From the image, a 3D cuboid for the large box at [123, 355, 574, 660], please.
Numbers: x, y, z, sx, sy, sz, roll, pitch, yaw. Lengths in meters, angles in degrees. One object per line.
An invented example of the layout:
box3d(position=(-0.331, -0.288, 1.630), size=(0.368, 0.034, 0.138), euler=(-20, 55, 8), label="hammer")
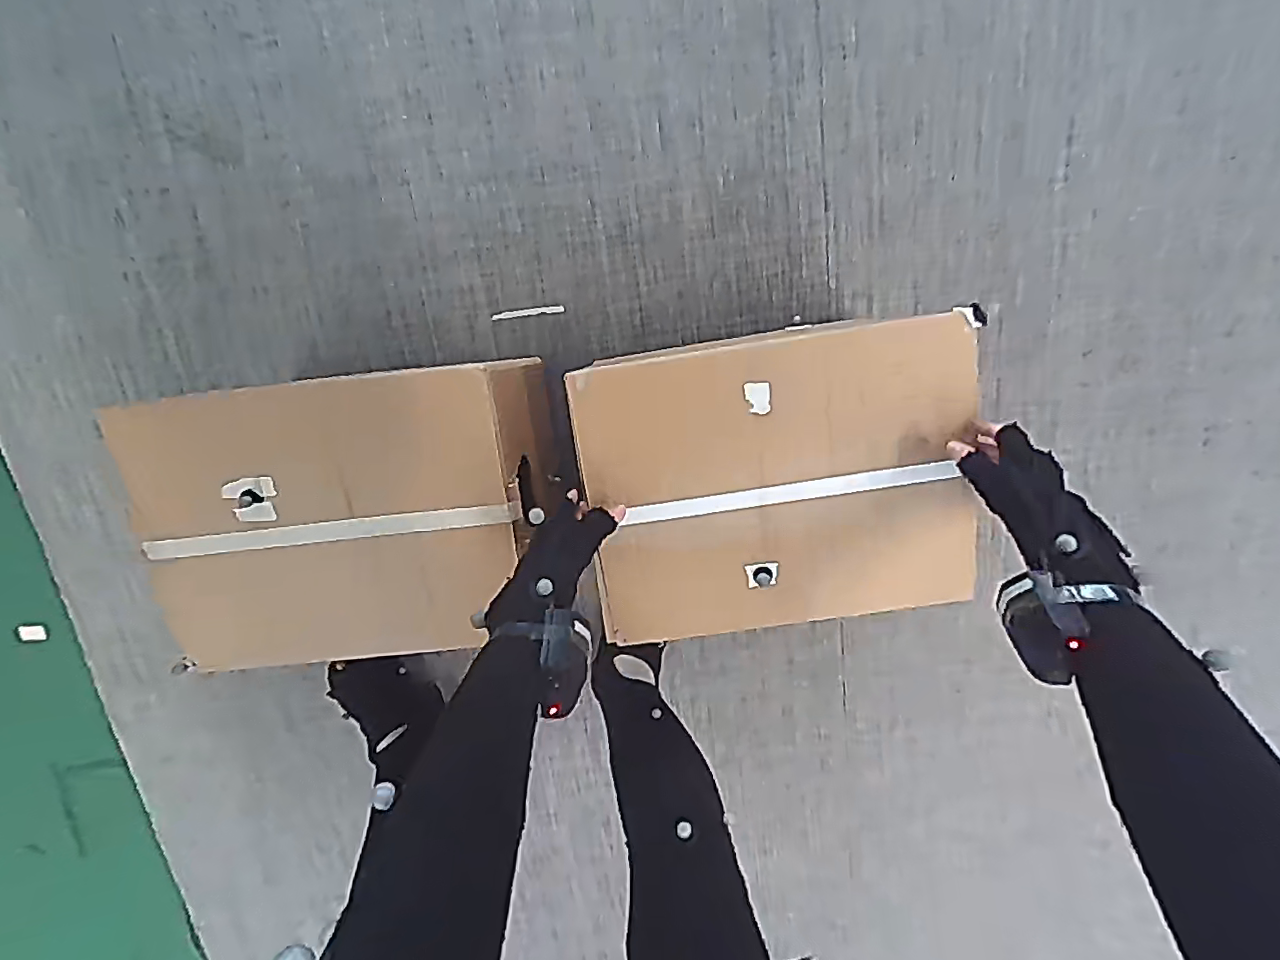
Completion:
box3d(position=(-0.326, 0.011, 0.735), size=(0.408, 0.320, 0.320), euler=(-5, 104, 3), label="large box")
